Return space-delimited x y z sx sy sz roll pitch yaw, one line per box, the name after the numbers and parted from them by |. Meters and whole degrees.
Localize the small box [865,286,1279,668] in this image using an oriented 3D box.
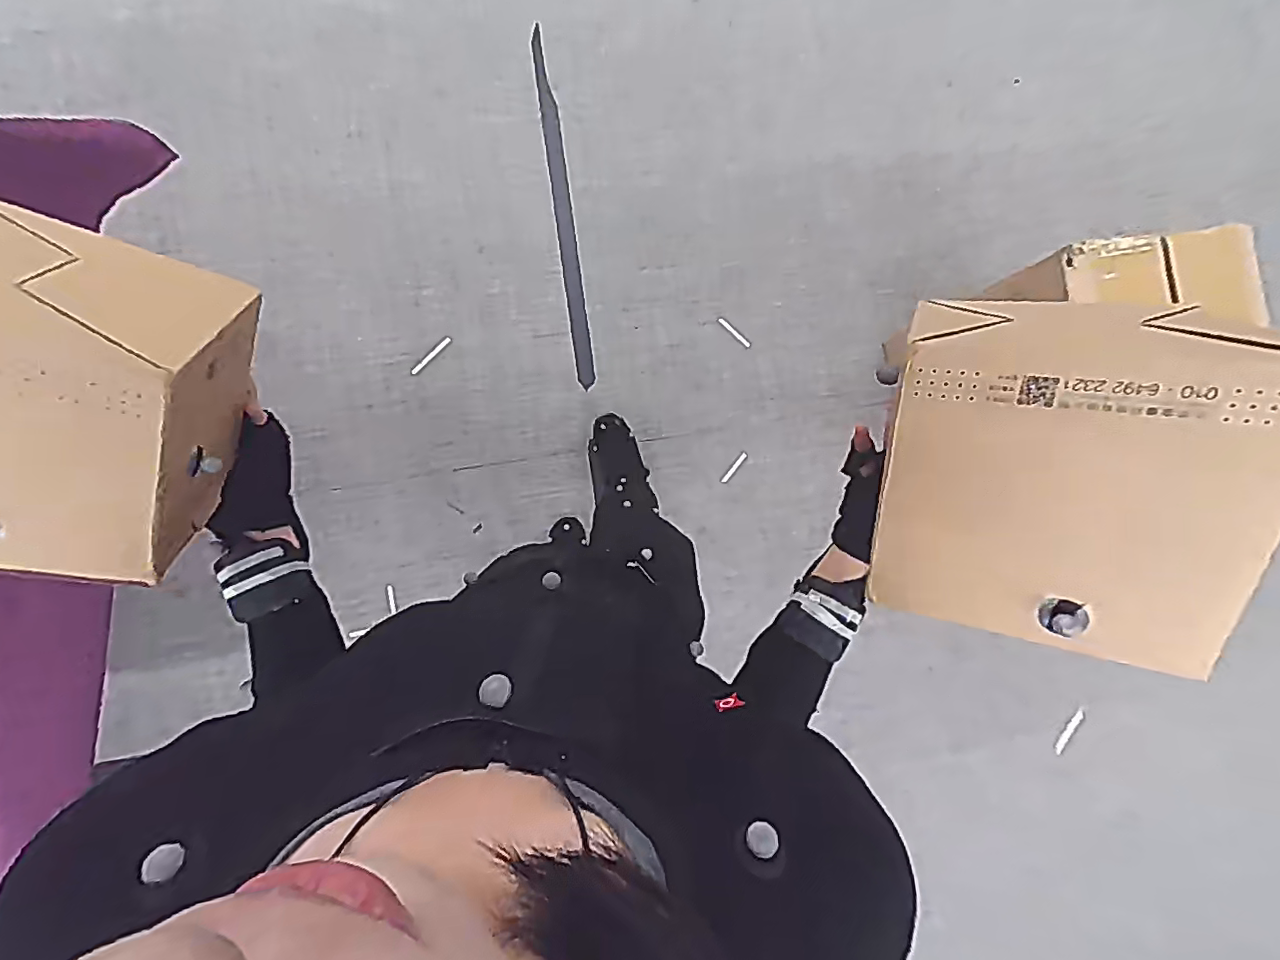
0.249 -0.025 0.338 0.168 0.179 0.176 10 119 27 | small box

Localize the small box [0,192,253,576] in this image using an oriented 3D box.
-0.377 -0.066 0.350 0.179 0.168 0.176 16 116 -26 | small box
